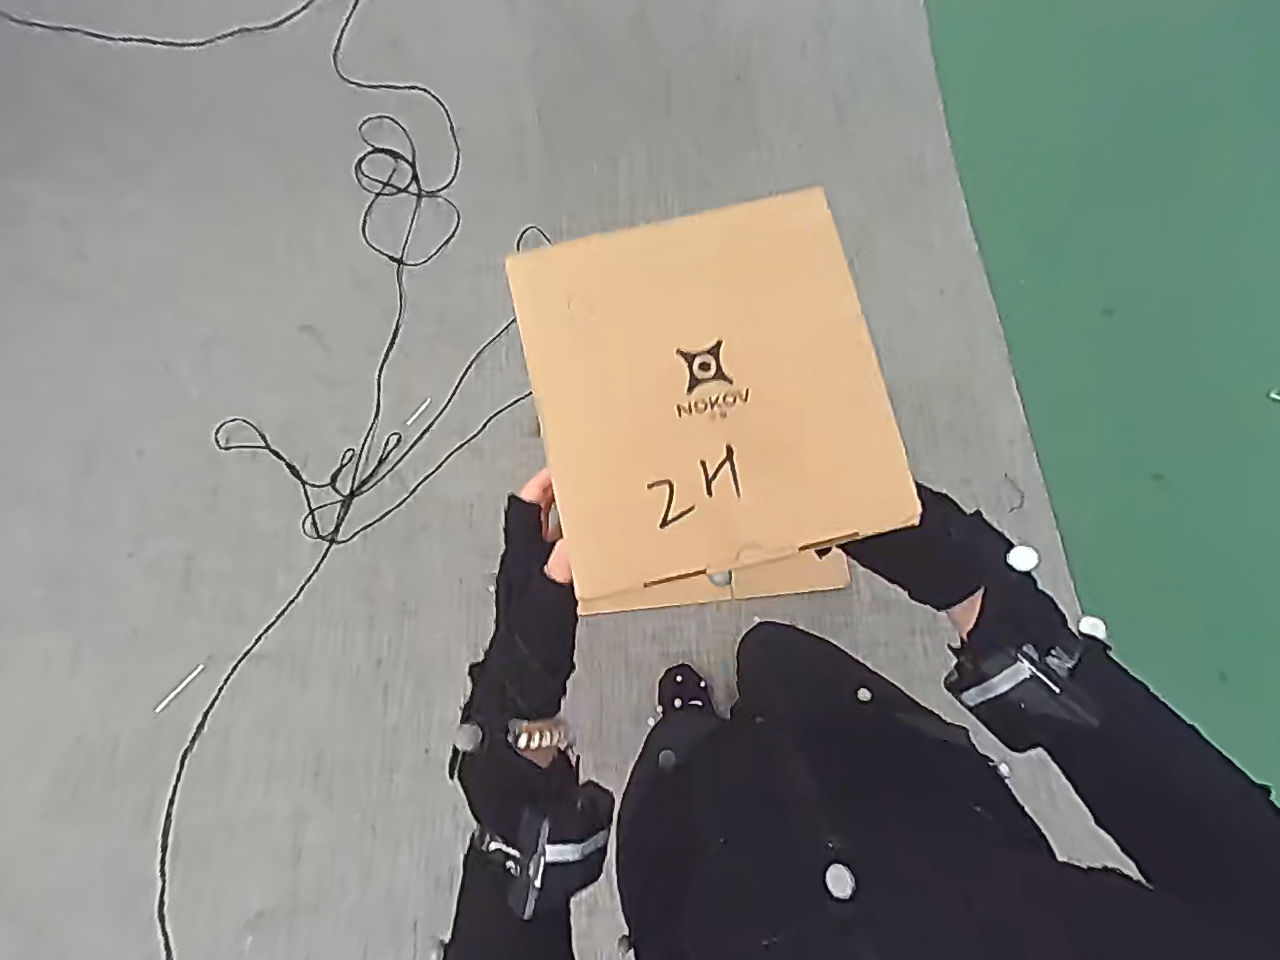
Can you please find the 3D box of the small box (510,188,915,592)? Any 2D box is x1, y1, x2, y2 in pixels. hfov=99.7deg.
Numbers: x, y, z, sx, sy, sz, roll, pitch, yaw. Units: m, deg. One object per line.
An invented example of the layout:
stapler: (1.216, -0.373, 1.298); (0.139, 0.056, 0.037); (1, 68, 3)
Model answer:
small box: (0.030, -0.038, 0.337); (0.168, 0.176, 0.179); (-13, 84, -2)
